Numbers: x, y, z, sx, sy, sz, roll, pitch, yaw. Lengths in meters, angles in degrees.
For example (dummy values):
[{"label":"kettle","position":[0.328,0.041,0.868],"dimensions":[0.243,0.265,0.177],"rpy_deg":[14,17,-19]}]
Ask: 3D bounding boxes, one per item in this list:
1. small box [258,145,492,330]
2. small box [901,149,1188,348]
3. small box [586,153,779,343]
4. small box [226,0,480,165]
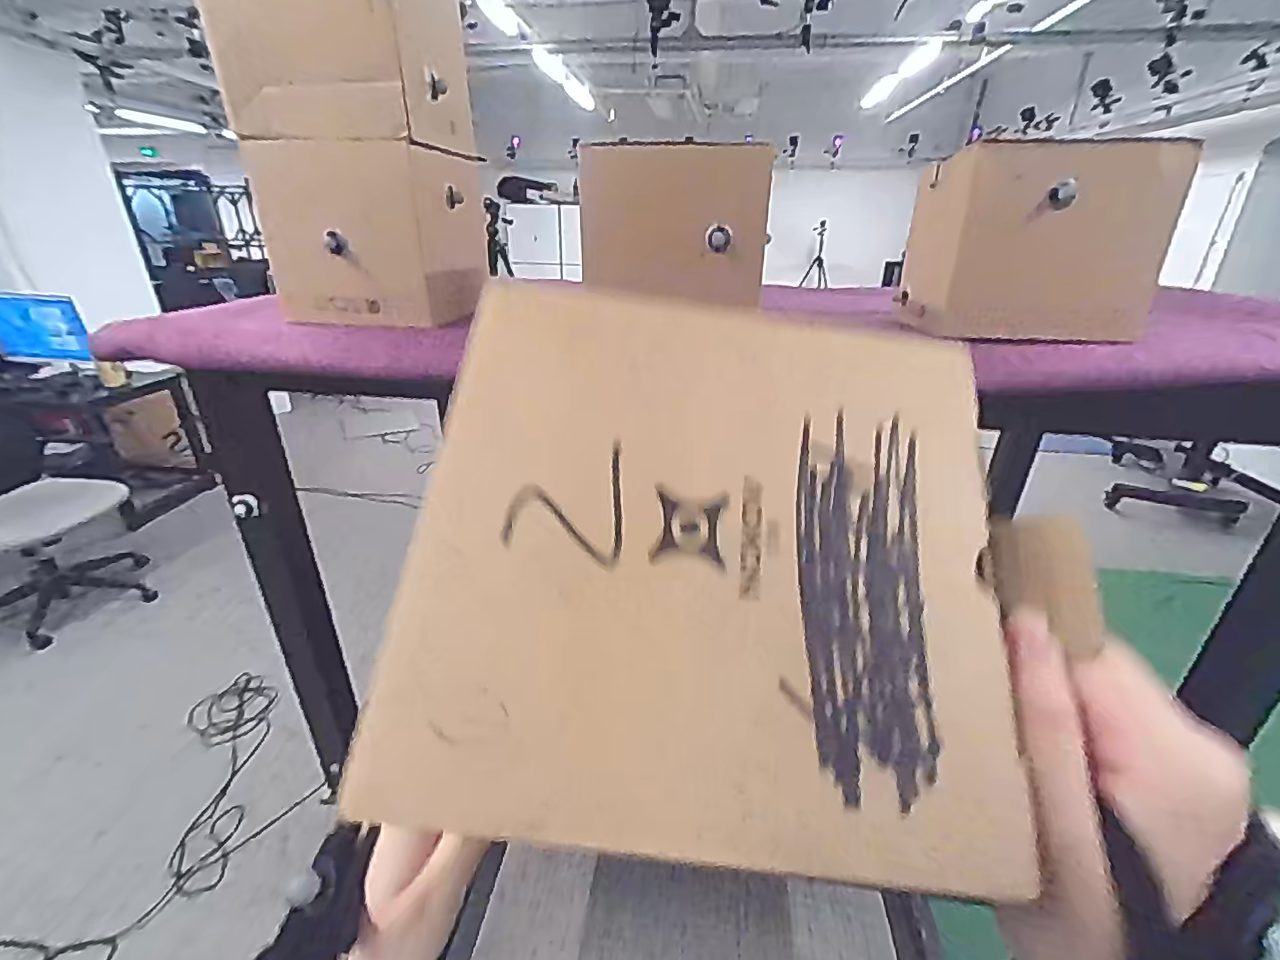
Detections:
[{"label":"small box","position":[-0.275,-0.270,0.612],"dimensions":[0.168,0.176,0.179],"rpy_deg":[5,25,5]},{"label":"small box","position":[0.393,-0.234,0.570],"dimensions":[0.179,0.176,0.168],"rpy_deg":[5,22,8]},{"label":"small box","position":[0.044,-0.246,0.587],"dimensions":[0.179,0.176,0.168],"rpy_deg":[3,24,6]},{"label":"small box","position":[-0.277,-0.417,0.543],"dimensions":[0.179,0.176,0.168],"rpy_deg":[4,25,3]}]
